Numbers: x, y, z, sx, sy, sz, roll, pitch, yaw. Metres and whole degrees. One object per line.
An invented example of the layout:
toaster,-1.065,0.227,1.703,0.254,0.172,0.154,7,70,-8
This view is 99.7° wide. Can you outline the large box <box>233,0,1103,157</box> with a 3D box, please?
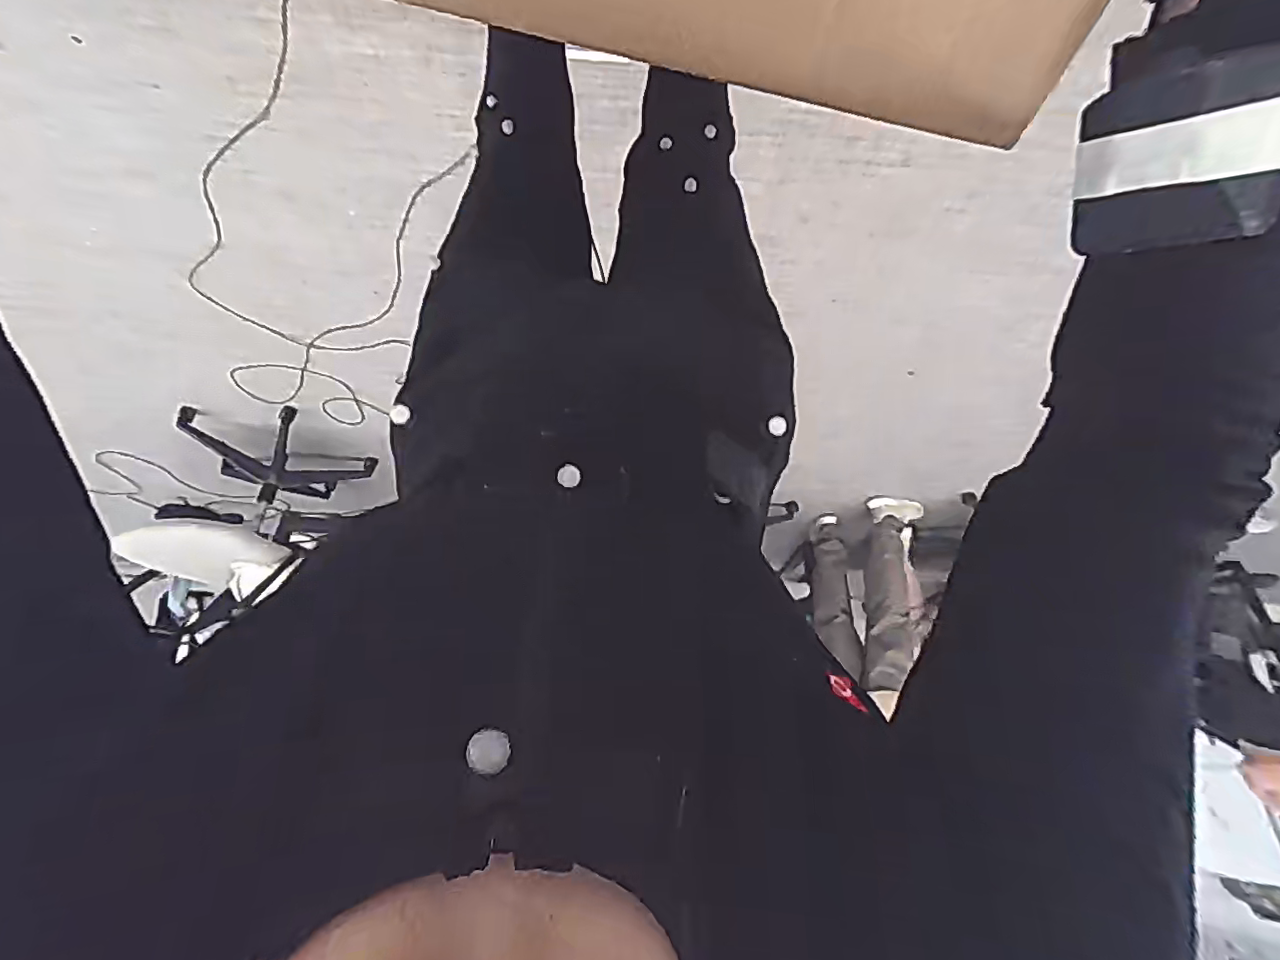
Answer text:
large box,0.018,-0.395,0.230,0.408,0.320,0.320,11,140,-3
